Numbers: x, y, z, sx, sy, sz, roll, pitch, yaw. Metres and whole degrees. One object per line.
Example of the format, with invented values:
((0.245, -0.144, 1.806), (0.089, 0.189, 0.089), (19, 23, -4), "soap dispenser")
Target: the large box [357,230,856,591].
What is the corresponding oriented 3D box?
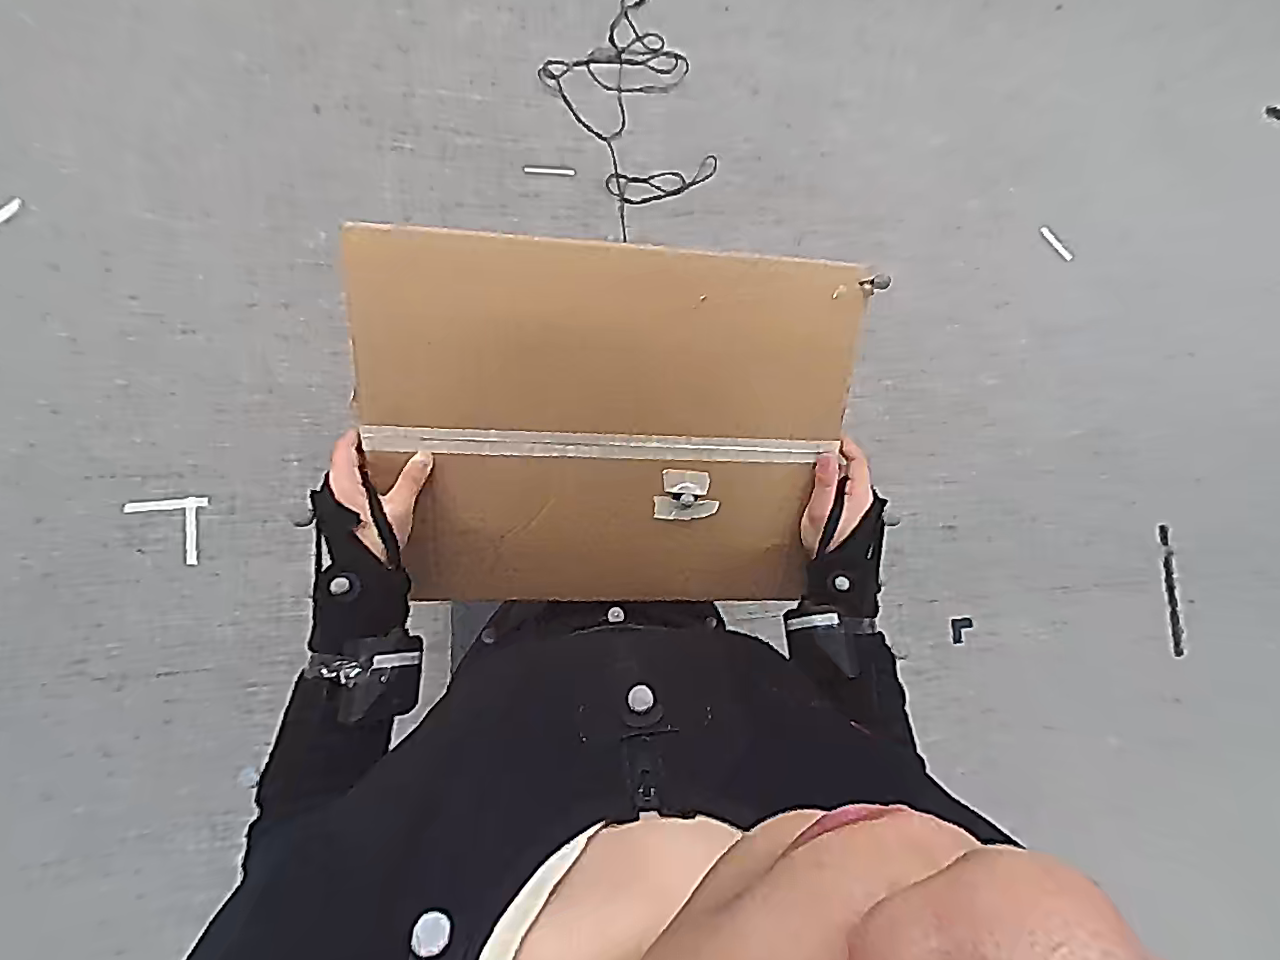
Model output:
((-0.042, -0.093, 0.614), (0.408, 0.320, 0.320), (0, 112, -8), "large box")
